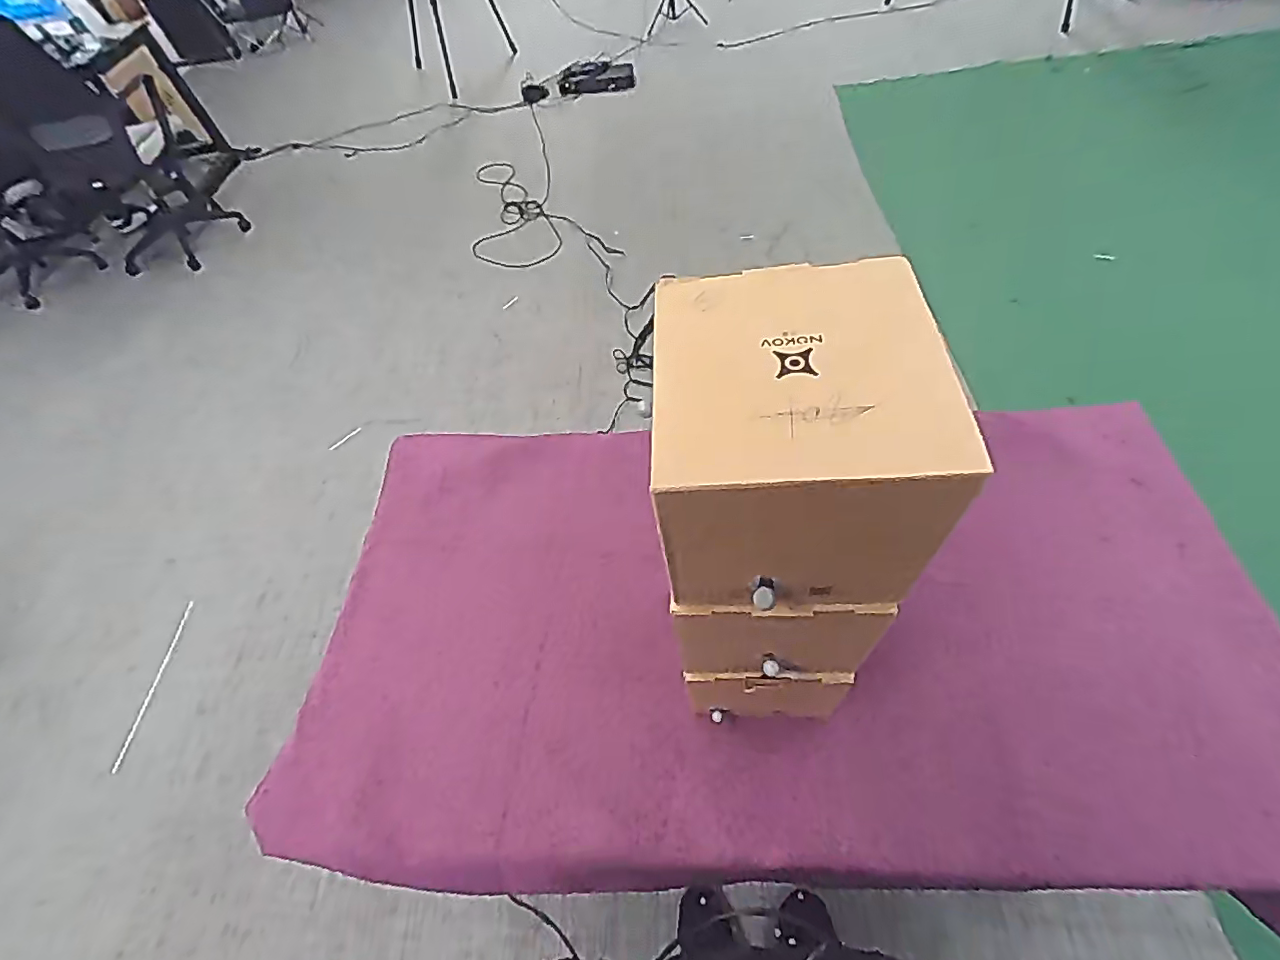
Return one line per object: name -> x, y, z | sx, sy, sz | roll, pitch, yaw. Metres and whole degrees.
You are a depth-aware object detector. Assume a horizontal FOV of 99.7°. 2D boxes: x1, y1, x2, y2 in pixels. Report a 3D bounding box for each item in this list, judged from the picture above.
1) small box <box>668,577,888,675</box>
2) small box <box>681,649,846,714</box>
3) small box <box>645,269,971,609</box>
small box -> 0.116, 0.074, 0.518 | 0.168, 0.176, 0.179 | -2, 56, 8
small box -> 0.138, 0.173, 0.648 | 0.168, 0.176, 0.179 | -2, 55, 7
small box -> 0.096, -0.022, 0.388 | 0.168, 0.176, 0.179 | -3, 55, 8
